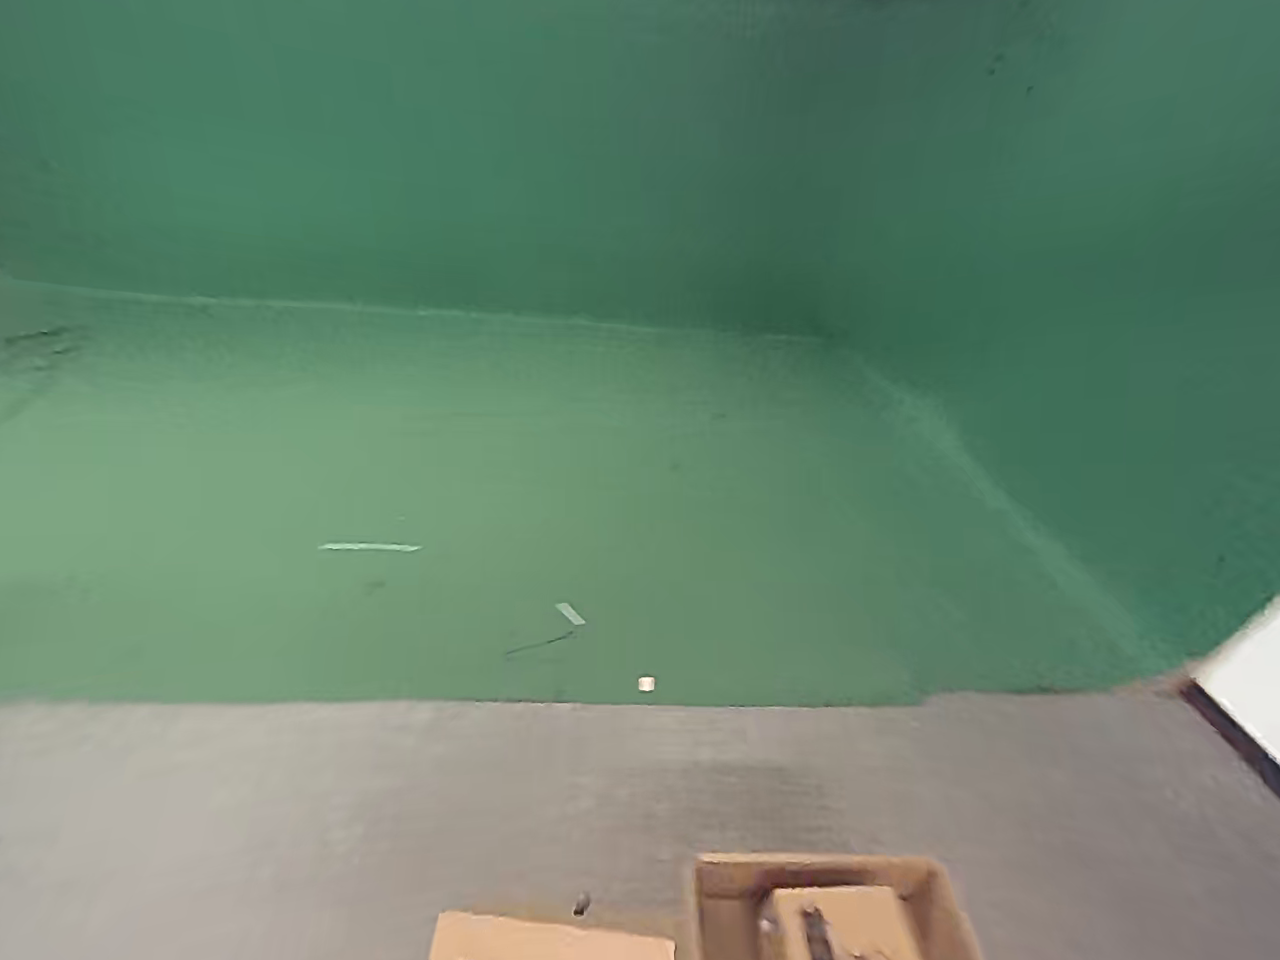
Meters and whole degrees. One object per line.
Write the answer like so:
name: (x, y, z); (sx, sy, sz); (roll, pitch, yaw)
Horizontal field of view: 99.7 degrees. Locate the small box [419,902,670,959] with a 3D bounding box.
small box: (-0.069, 0.431, 0.406); (0.179, 0.176, 0.168); (2, 56, 4)
